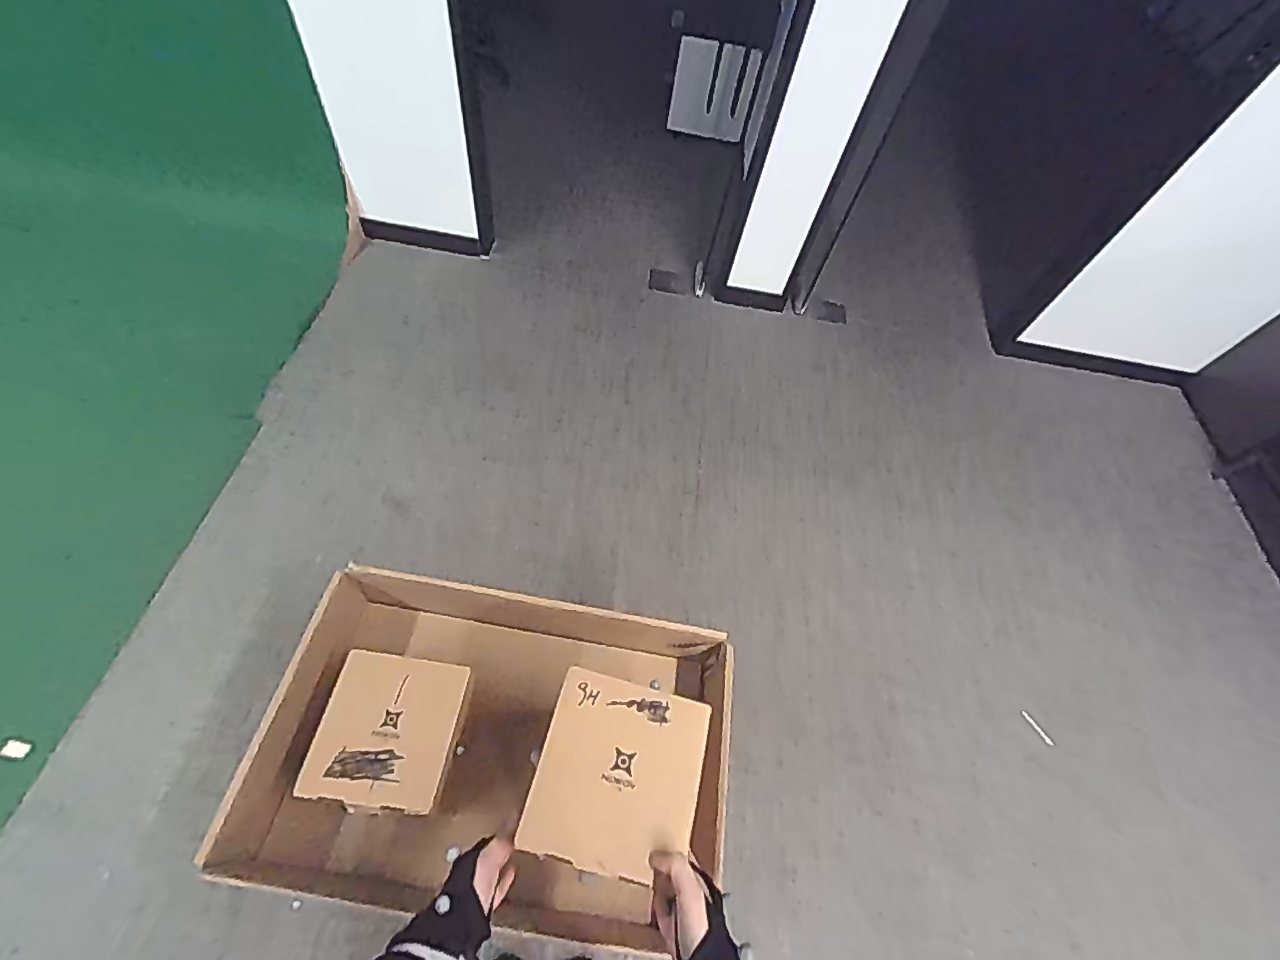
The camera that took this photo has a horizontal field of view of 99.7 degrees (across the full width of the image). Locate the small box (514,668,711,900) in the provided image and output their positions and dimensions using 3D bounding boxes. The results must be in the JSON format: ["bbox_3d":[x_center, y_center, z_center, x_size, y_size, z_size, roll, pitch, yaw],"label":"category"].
[{"bbox_3d":[-0.029,0.342,0.619,0.168,0.176,0.179,16,57,2],"label":"small box"}]
